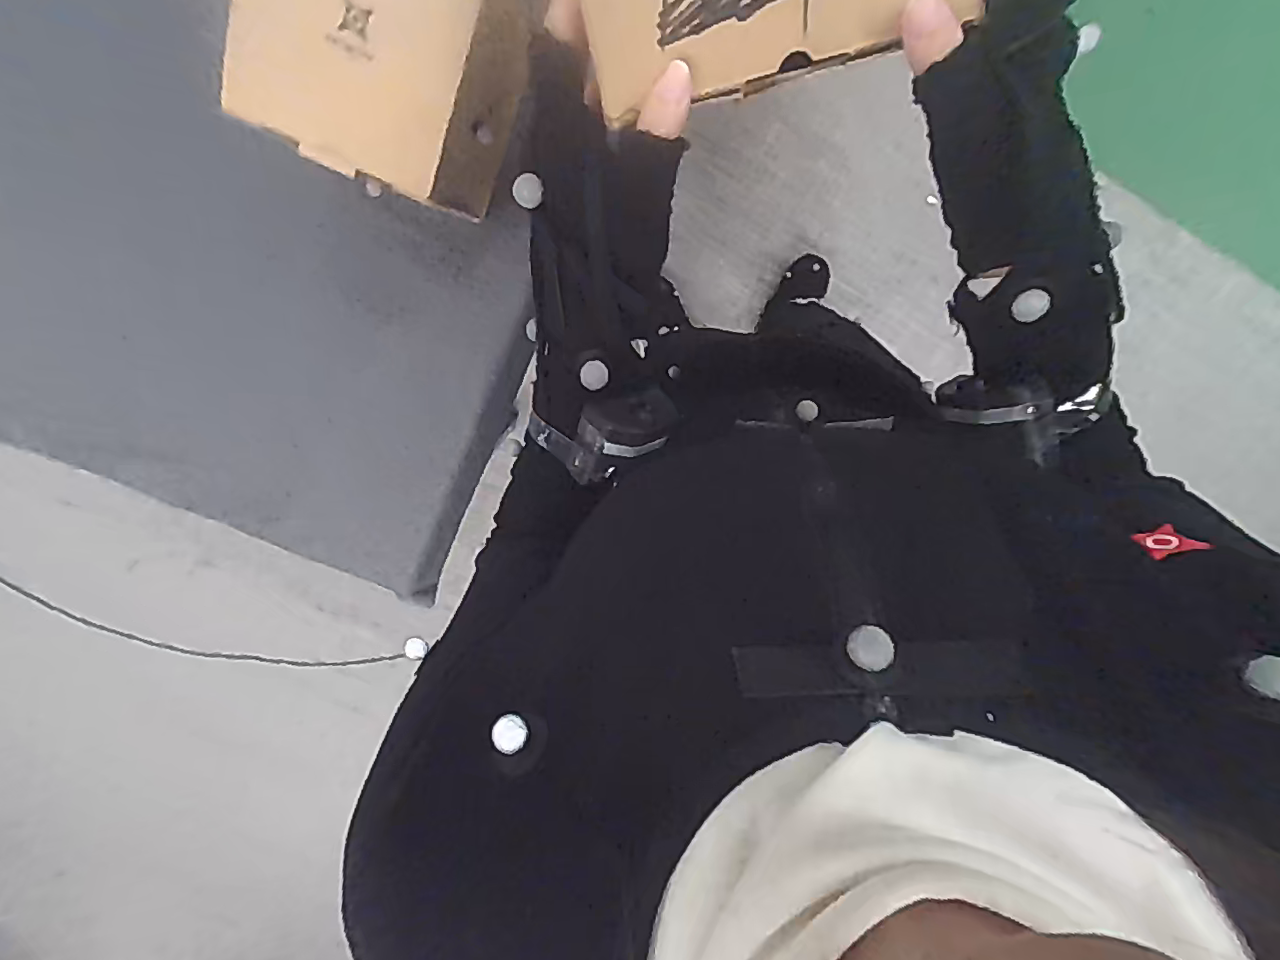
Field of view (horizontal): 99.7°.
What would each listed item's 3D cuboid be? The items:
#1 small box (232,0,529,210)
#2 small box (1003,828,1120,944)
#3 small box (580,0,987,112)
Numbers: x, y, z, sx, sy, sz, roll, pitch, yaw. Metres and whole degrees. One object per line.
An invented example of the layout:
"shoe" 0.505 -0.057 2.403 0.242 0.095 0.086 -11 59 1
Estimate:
"small box" -0.210 -0.360 0.475 0.168 0.176 0.179 20 109 -5
"small box" 1.145 1.106 1.481 0.168 0.176 0.179 -30 106 10
"small box" 0.044 -0.291 0.245 0.168 0.176 0.179 -12 124 6
